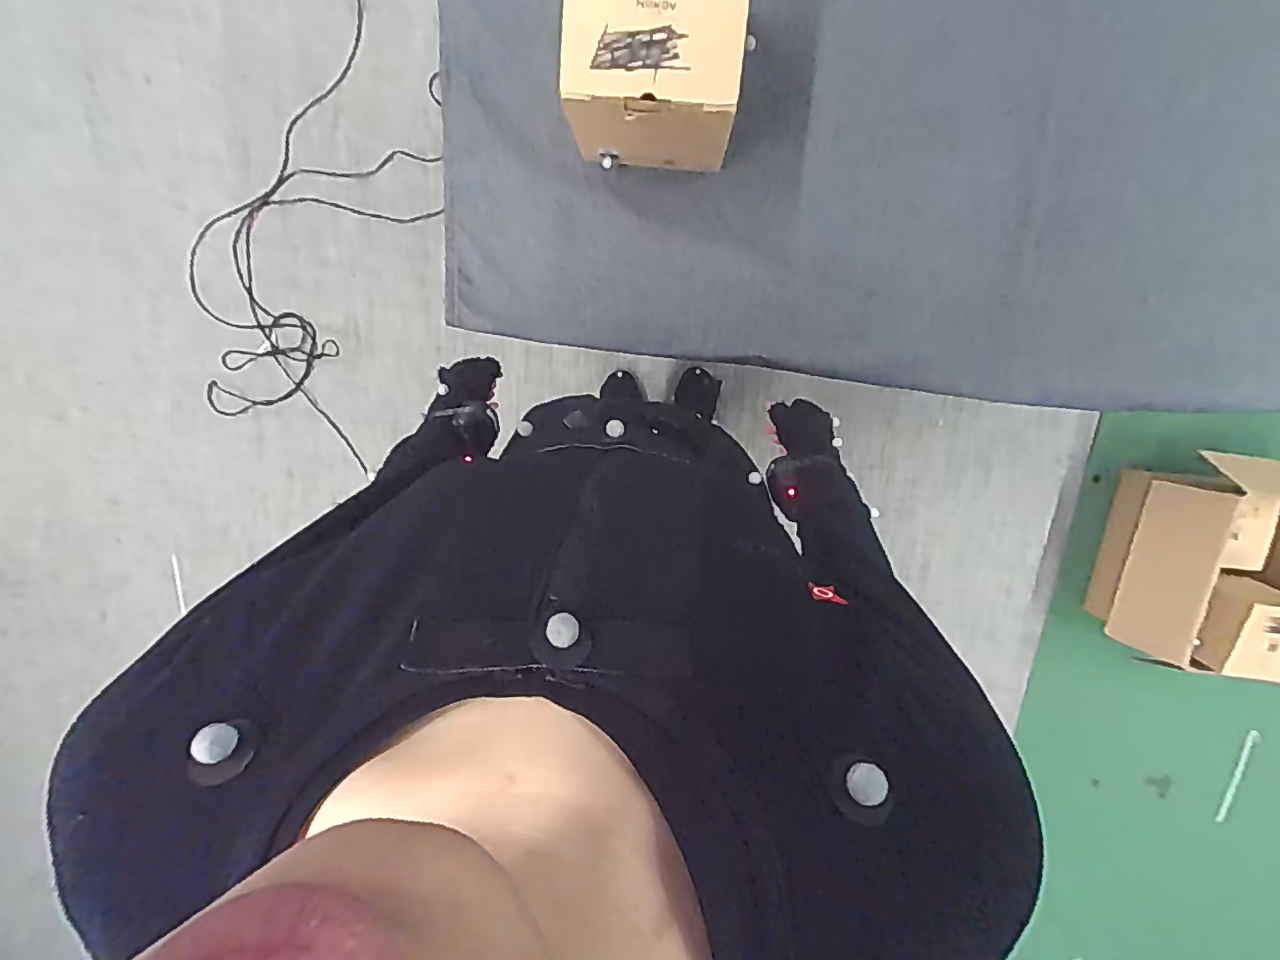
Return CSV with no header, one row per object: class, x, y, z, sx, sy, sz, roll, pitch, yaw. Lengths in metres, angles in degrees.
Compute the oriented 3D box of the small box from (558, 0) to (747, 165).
small box,0.018,-0.447,0.553,0.168,0.176,0.179,5,102,1
